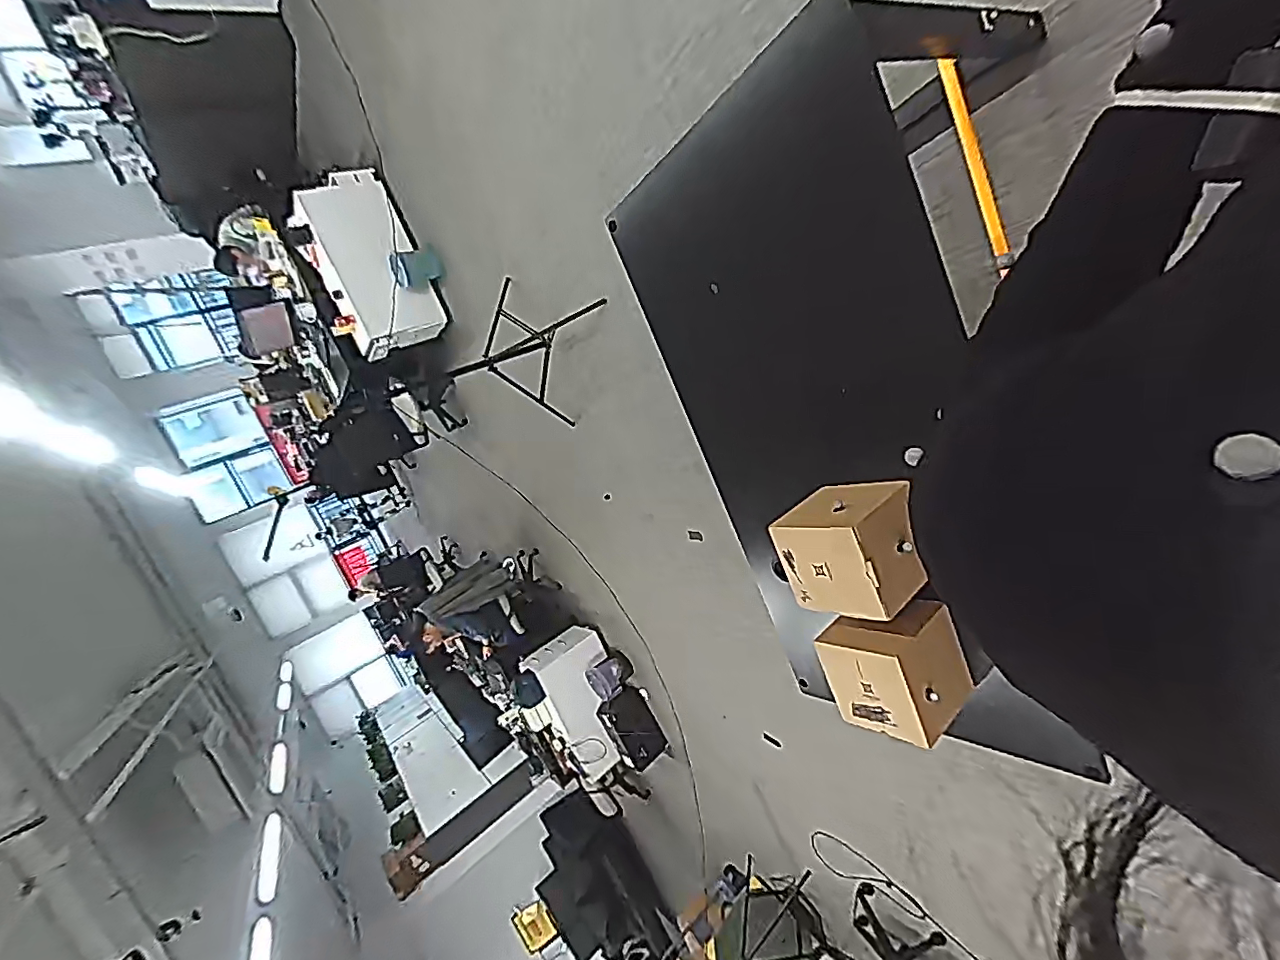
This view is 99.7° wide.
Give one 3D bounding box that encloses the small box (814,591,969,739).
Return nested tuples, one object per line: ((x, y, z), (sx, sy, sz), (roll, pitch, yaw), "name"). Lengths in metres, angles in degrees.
((0.451, 0.314, 0.964), (0.168, 0.176, 0.179), (-9, 107, 57), "small box")

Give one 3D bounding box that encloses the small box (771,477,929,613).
((0.363, 0.103, 0.922), (0.179, 0.176, 0.168), (-8, 108, 57), "small box")
